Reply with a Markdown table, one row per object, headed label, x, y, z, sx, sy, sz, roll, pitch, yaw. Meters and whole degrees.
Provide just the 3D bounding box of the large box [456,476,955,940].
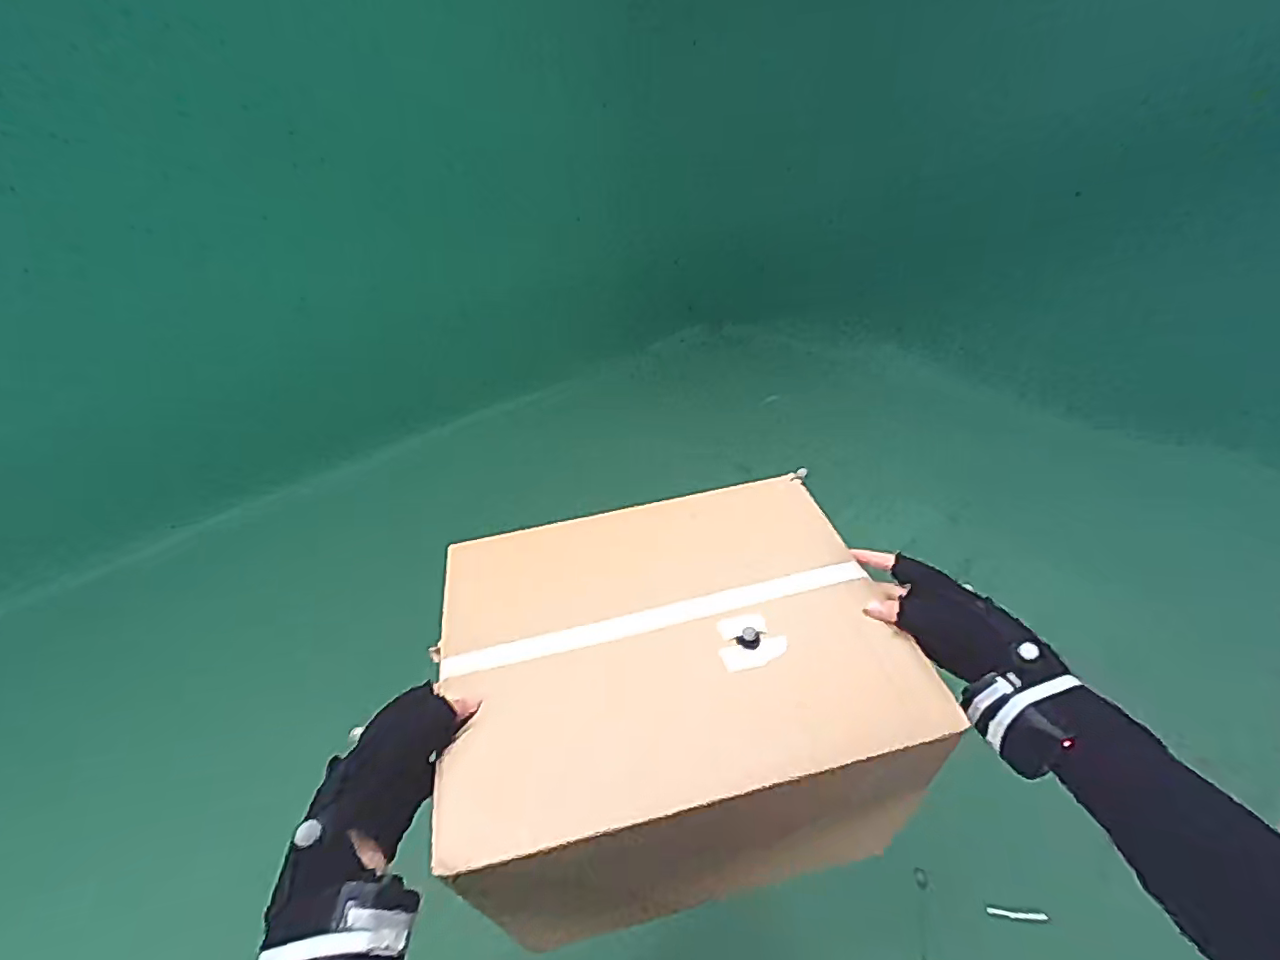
| label | x | y | z | sx | sy | sz | roll | pitch | yaw |
| --- | --- | --- | --- | --- | --- | --- | --- | --- | --- |
| large box | 0.036 | 0.240 | 0.609 | 0.408 | 0.320 | 0.320 | -11 | 42 | -8 |
